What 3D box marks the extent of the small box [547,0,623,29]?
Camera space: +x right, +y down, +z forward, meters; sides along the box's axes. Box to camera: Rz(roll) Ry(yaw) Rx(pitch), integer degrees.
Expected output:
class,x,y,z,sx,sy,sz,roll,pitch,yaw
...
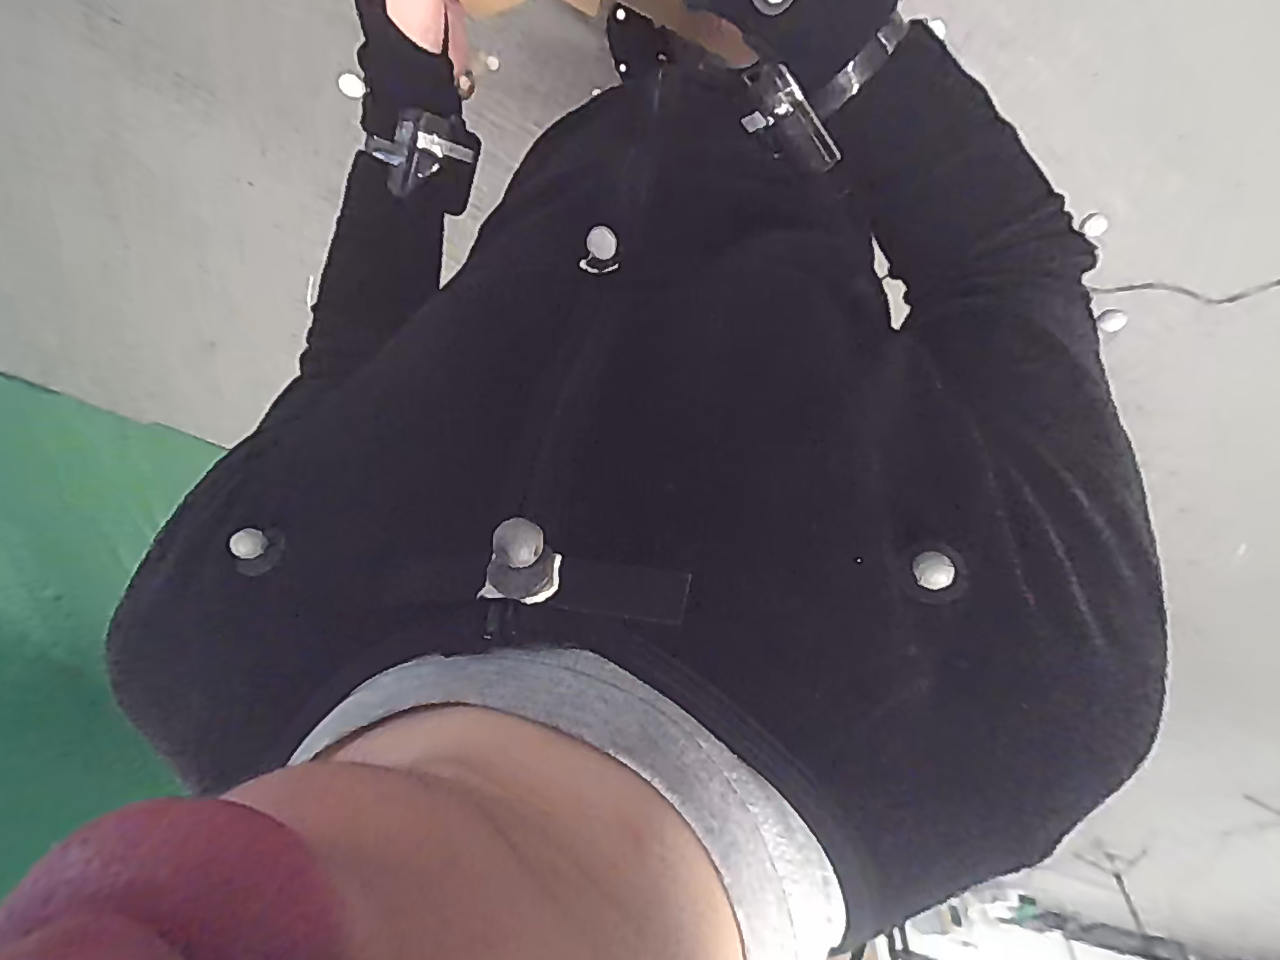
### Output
class,x,y,z,sx,sy,sz,roll,pitch,yaw
small box,-0.086,-0.762,0.727,0.168,0.176,0.179,21,137,-11
